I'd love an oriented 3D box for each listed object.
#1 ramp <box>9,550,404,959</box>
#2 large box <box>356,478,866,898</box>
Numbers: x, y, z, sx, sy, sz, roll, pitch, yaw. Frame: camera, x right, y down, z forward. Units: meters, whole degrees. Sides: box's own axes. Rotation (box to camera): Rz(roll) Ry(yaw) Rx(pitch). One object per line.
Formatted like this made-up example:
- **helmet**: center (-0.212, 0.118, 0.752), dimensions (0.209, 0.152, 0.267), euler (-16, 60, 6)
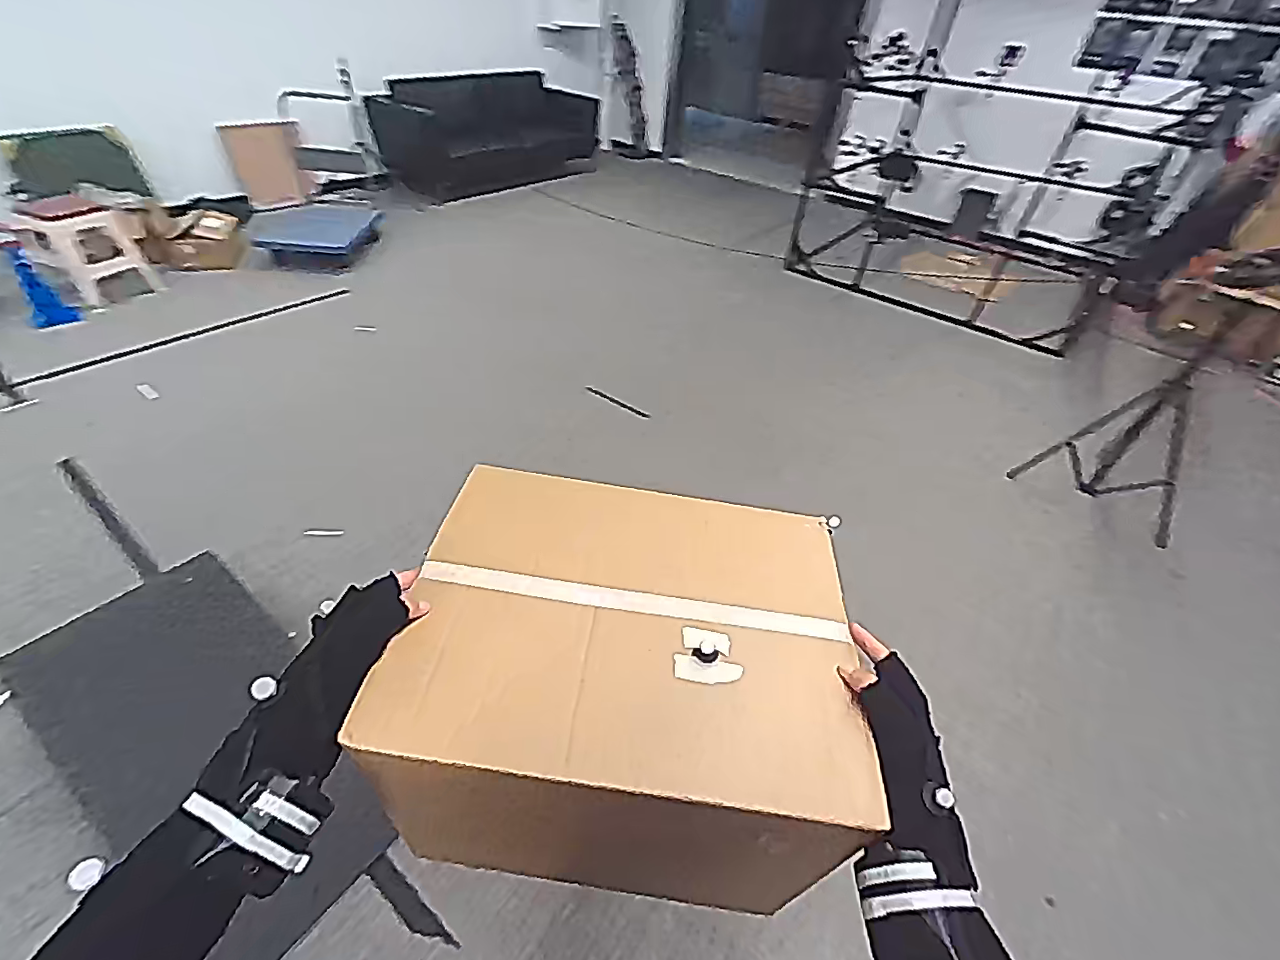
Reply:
- **ramp**: center (-1.028, 0.615, 1.344), dimensions (0.991, 0.206, 0.509), euler (28, 45, 23)
- **large box**: center (-0.027, 0.233, 0.618), dimensions (0.408, 0.320, 0.320), euler (9, 42, 0)
